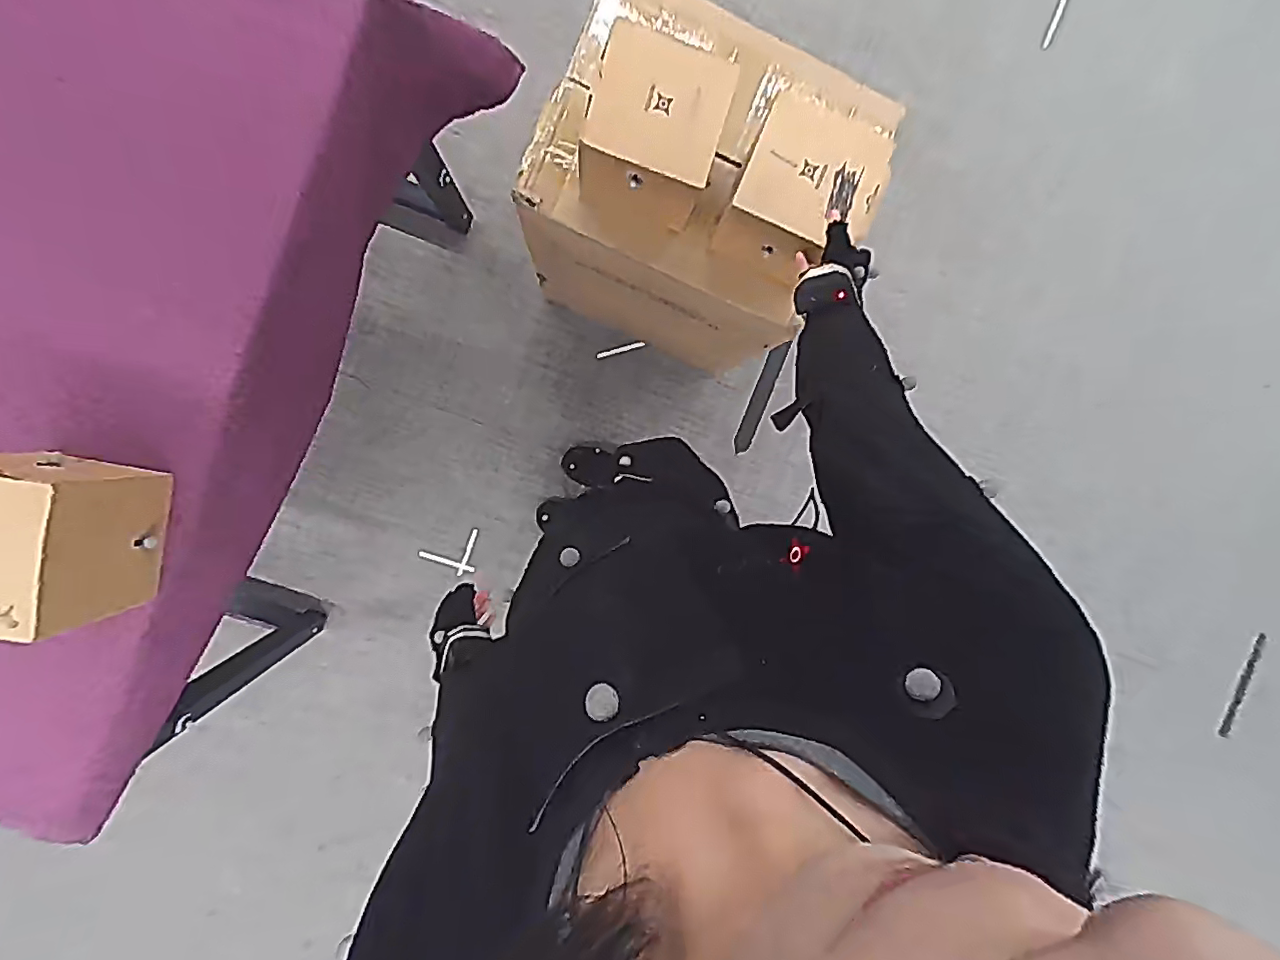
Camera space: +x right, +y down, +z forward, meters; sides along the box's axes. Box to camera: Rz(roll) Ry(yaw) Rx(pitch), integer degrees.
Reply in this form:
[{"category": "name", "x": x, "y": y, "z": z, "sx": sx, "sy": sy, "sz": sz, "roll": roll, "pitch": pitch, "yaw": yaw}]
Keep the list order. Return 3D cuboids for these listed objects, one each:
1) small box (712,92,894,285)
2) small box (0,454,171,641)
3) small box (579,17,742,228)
[{"category": "small box", "x": 0.226, "y": -0.409, "z": 0.797, "sx": 0.179, "sy": 0.176, "sz": 0.168, "roll": 22, "pitch": 92, "yaw": -4}, {"category": "small box", "x": -0.706, "y": 0.066, "z": 0.636, "sx": 0.168, "sy": 0.176, "sz": 0.179, "roll": 10, "pitch": 92, "yaw": -5}, {"category": "small box", "x": 0.019, "y": -0.491, "z": 0.775, "sx": 0.179, "sy": 0.176, "sz": 0.168, "roll": 17, "pitch": 93, "yaw": -8}]
